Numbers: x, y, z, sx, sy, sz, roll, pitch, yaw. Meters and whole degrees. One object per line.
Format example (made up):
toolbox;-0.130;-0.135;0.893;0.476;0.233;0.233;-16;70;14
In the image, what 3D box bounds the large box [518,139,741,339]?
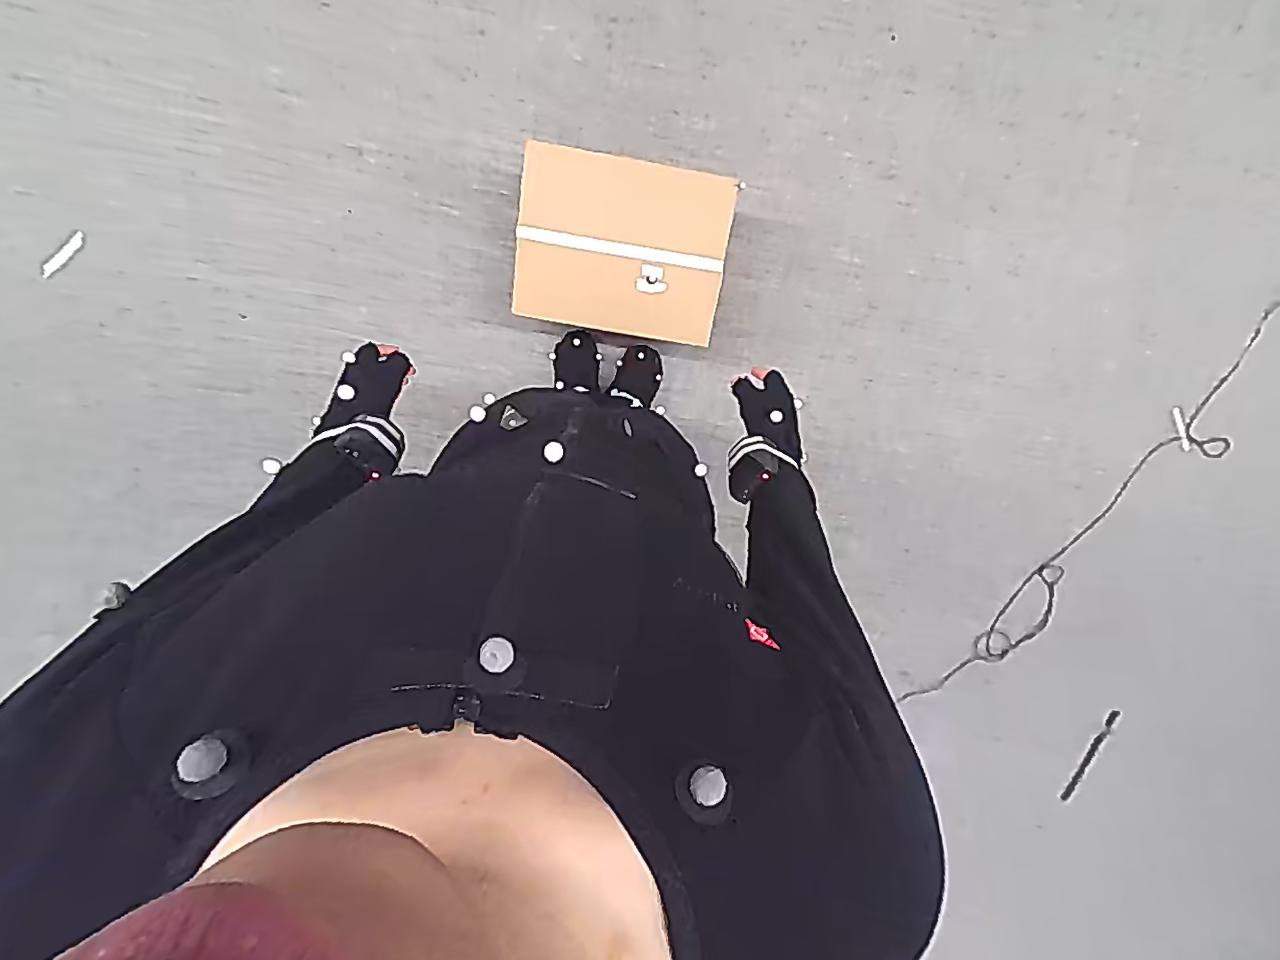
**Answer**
large box;-0.032;-0.501;1.186;0.408;0.320;0.320;8;109;-4
